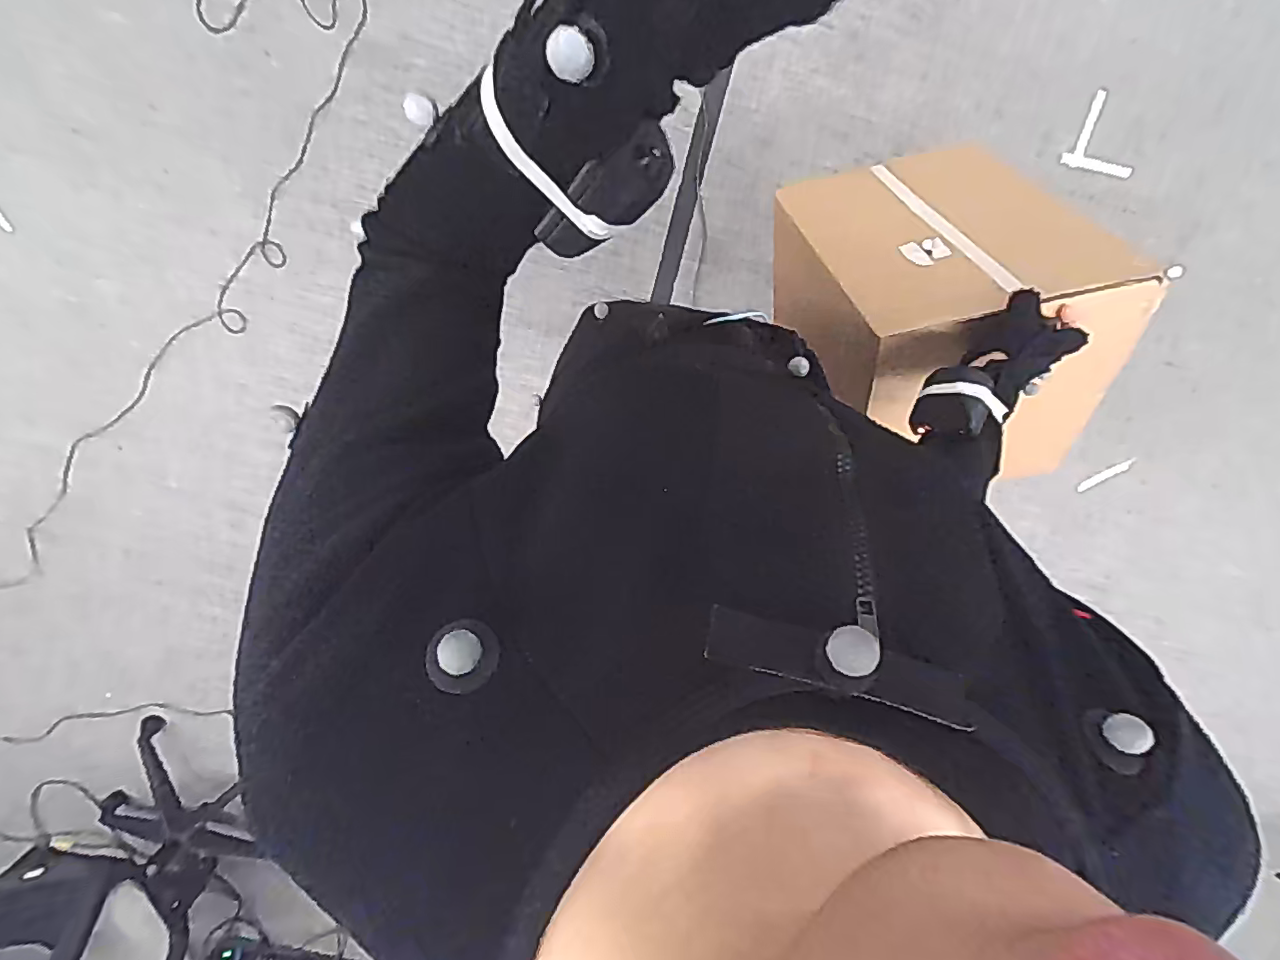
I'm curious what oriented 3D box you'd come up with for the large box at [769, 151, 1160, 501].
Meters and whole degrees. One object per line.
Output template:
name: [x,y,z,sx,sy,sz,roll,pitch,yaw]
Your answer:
large box: [0.407,-0.236,0.826,0.320,0.408,0.320,-12,140,3]
